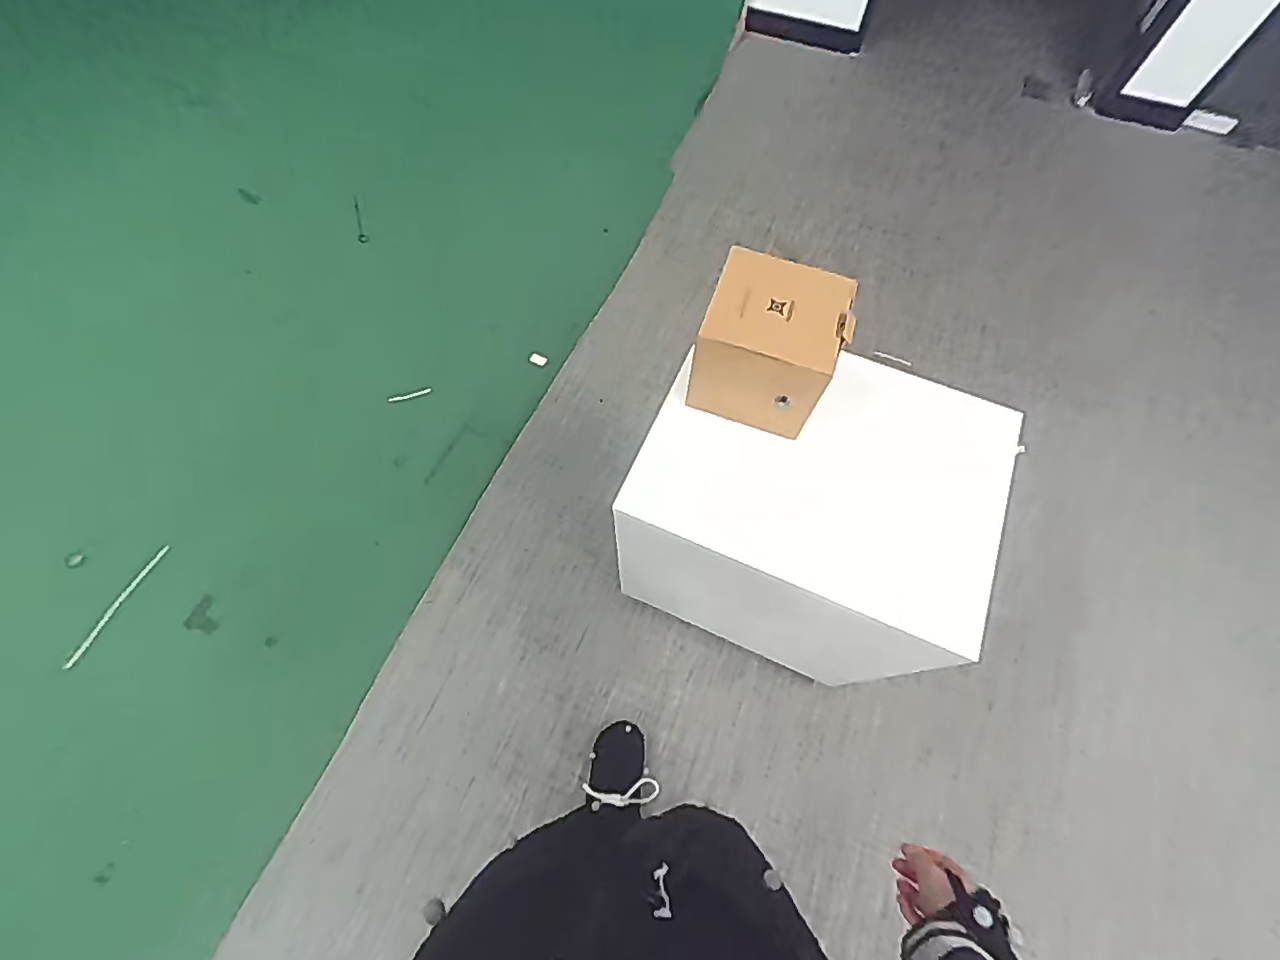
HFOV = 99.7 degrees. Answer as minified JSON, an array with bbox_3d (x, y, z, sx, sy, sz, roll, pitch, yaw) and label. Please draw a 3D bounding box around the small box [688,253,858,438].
[{"bbox_3d":[0.179,-0.180,0.765,0.179,0.176,0.168,18,66,7],"label":"small box"}]
